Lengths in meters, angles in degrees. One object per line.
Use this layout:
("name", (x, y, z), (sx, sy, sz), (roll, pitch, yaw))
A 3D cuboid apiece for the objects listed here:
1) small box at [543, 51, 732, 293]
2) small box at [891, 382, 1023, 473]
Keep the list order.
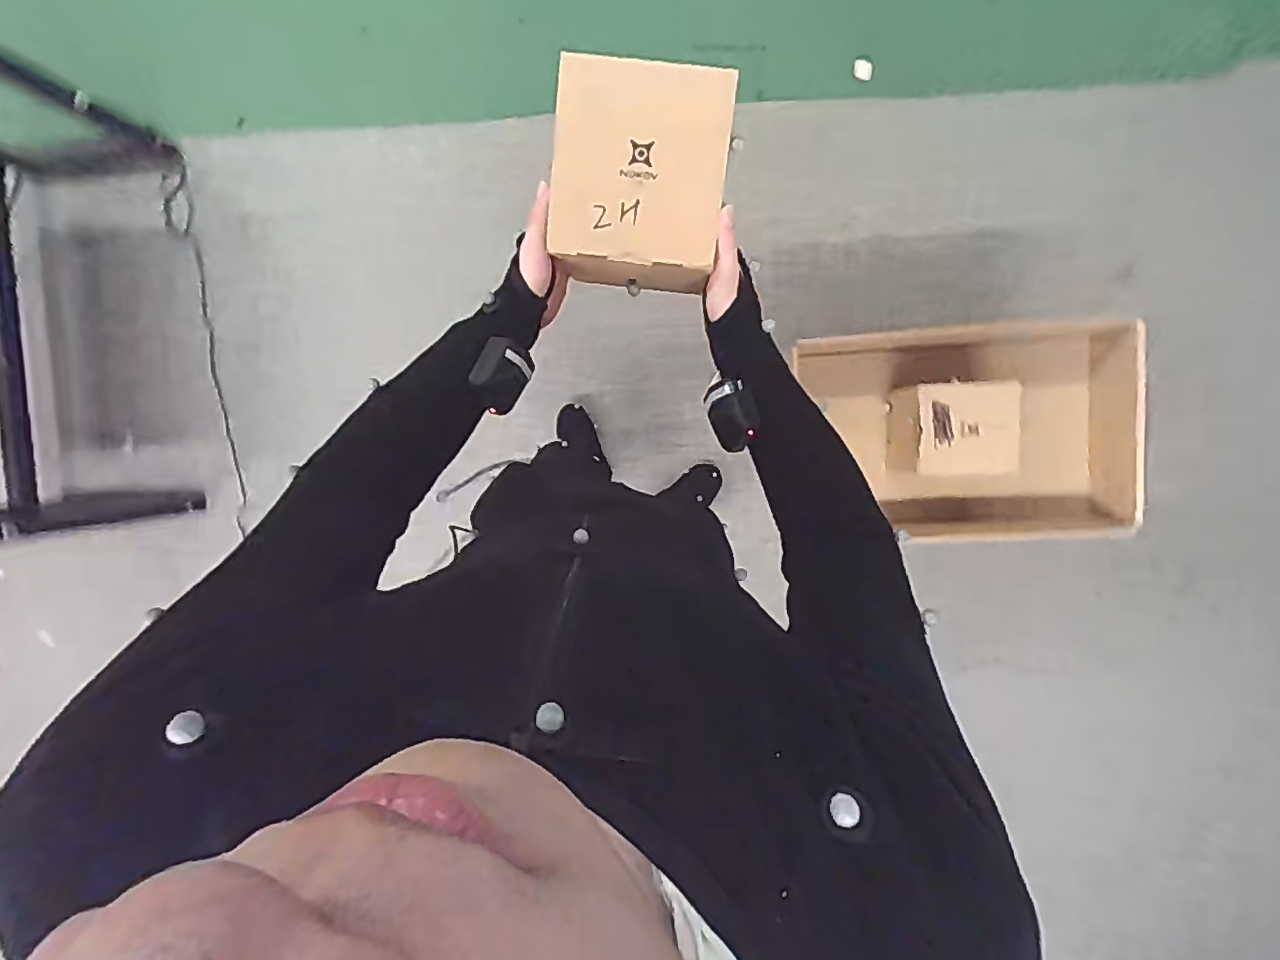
("small box", (-0.003, -0.311, 0.582), (0.168, 0.176, 0.179), (5, 101, 2))
("small box", (0.605, -0.099, 1.054), (0.179, 0.176, 0.168), (-1, 95, 5))
